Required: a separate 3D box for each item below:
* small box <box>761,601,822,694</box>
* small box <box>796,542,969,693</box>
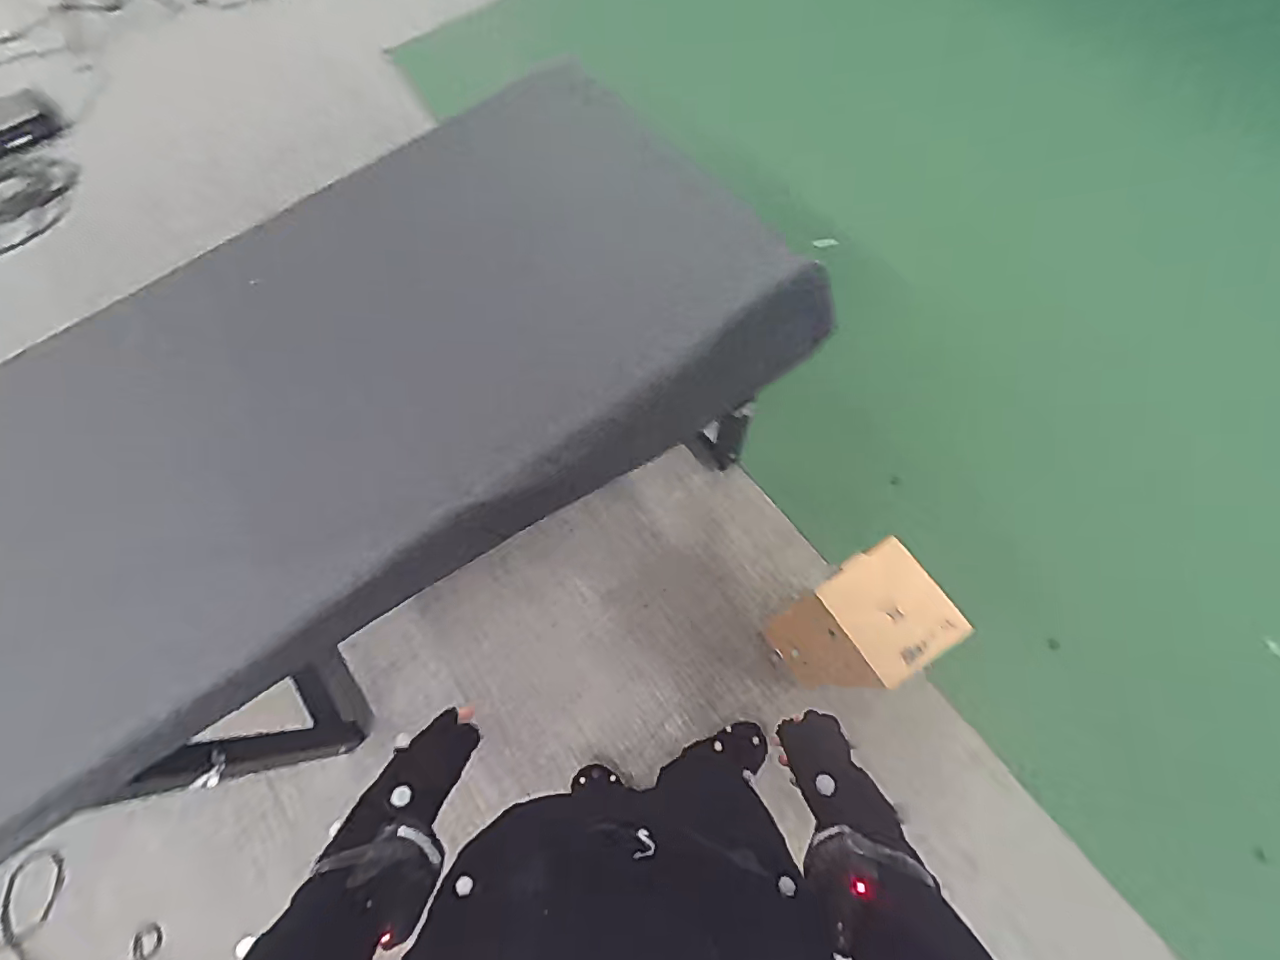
[{"bbox_3d":[0.392,0.355,1.204,0.179,0.176,0.168,-32,70,-8],"label":"small box"},{"bbox_3d":[0.386,0.235,0.899,0.168,0.176,0.179,-30,69,-8],"label":"small box"}]
